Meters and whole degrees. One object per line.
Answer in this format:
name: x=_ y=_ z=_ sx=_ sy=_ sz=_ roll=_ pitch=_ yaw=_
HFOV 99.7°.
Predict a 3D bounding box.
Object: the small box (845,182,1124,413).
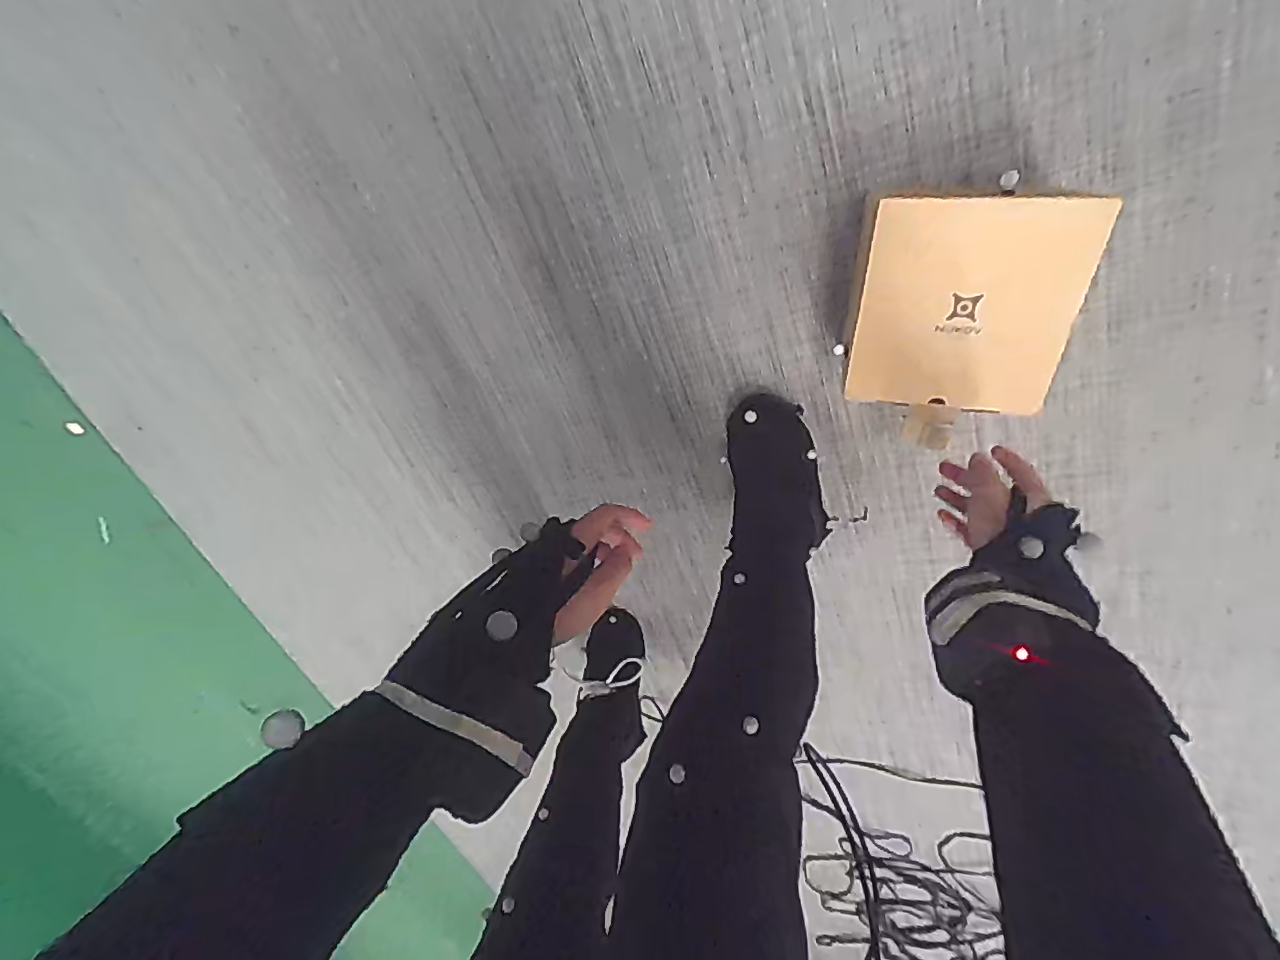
small box: x=0.295 y=-0.183 z=0.516 sx=0.168 sy=0.176 sz=0.179 roll=8 pitch=123 yaw=15
